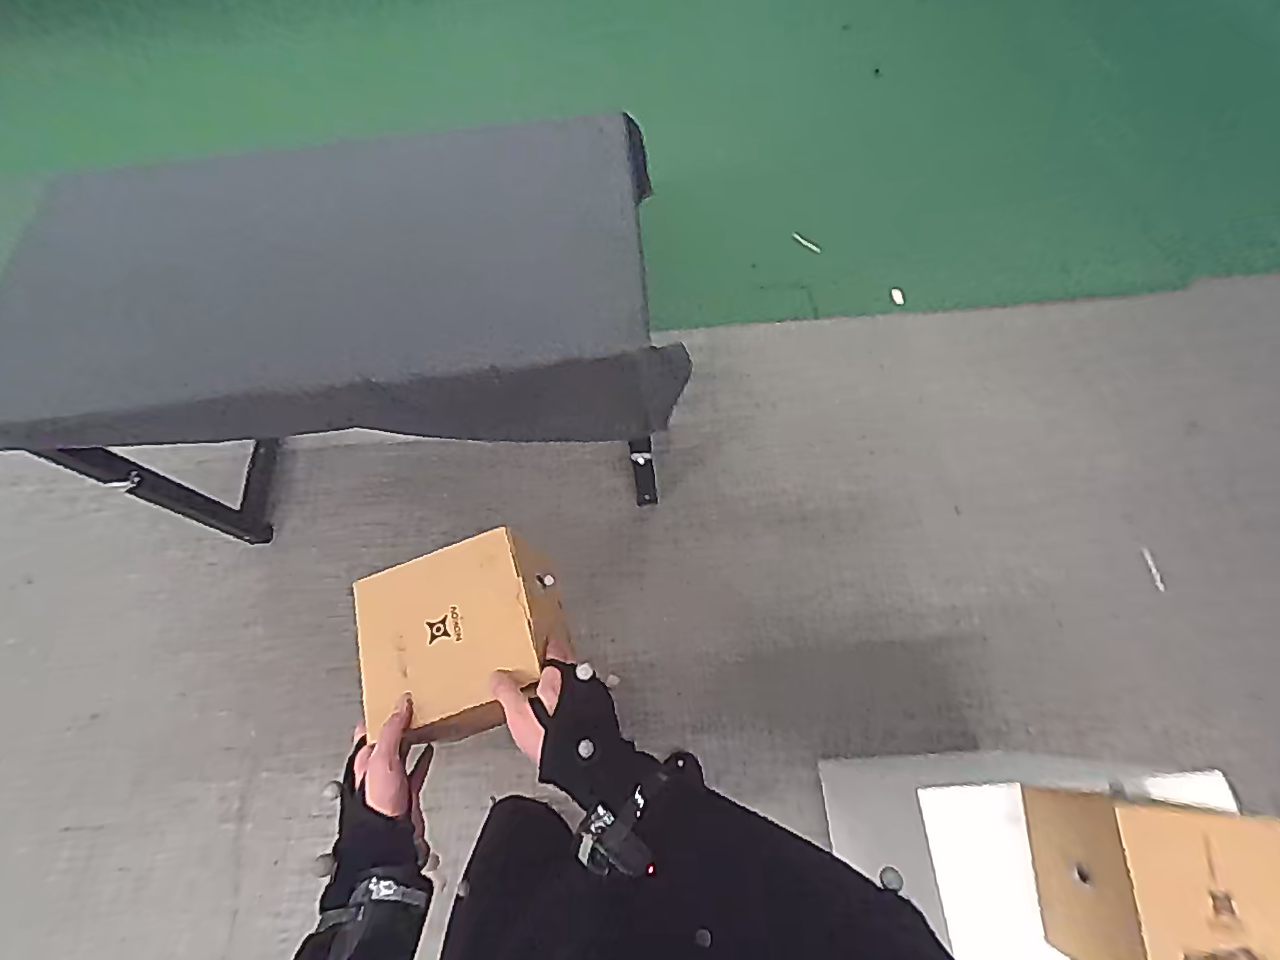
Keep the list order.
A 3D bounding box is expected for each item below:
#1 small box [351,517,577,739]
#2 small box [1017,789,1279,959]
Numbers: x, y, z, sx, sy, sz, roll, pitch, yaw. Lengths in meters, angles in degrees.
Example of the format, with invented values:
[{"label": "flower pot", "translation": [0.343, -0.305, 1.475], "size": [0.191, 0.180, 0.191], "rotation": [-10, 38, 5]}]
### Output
[{"label": "small box", "translation": [-0.178, 0.166, 0.586], "size": [0.179, 0.176, 0.168], "rotation": [-20, 62, 0]}, {"label": "small box", "translation": [0.561, 0.461, 0.600], "size": [0.168, 0.176, 0.179], "rotation": [5, 66, 3]}]
